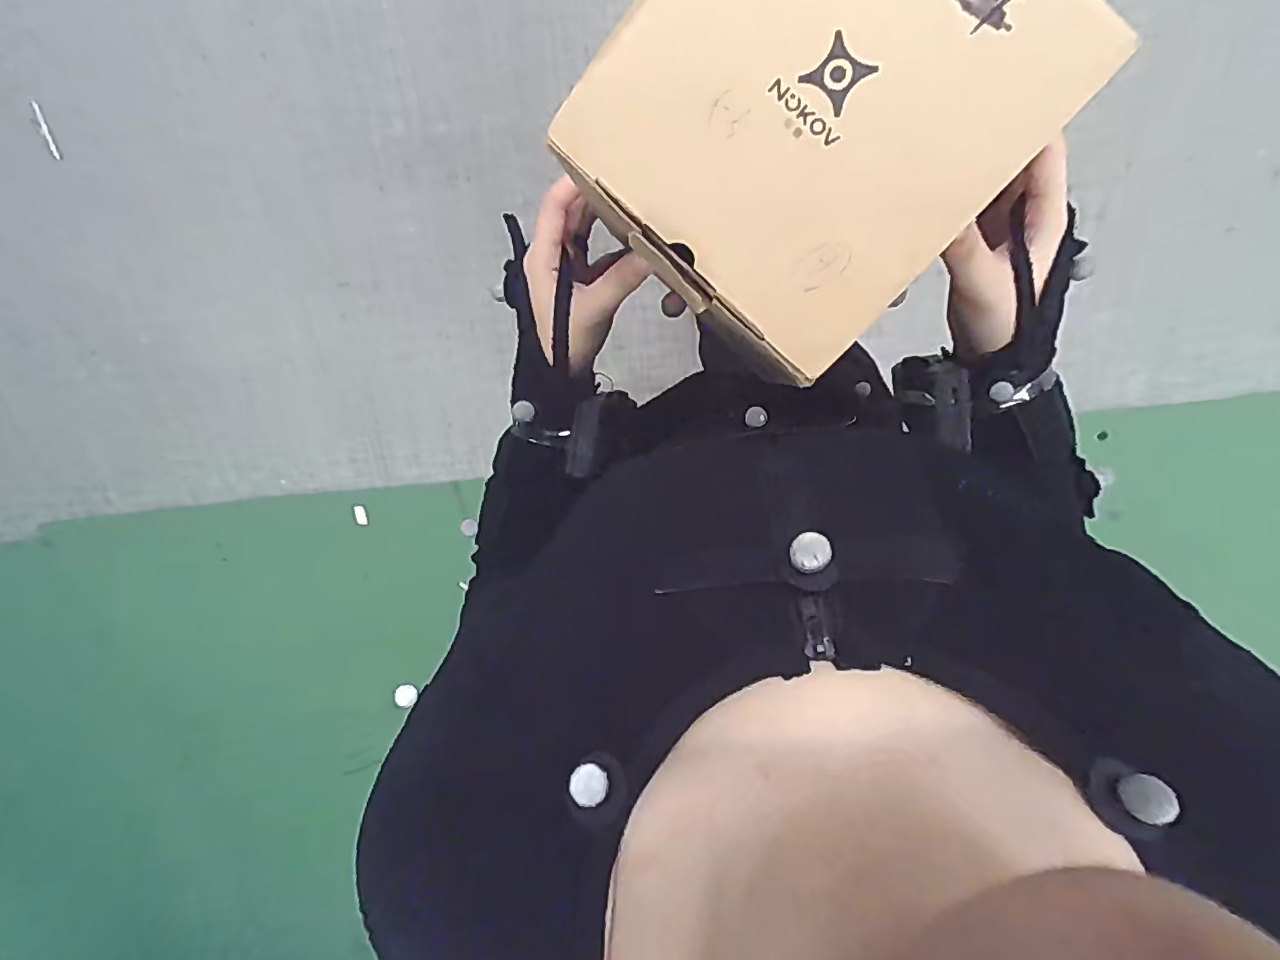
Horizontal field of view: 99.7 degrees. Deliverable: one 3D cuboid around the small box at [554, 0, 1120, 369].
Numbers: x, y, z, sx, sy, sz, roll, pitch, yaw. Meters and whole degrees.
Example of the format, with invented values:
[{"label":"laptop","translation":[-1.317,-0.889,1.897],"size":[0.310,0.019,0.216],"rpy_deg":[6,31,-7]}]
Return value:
[{"label":"small box","translation":[0.086,-0.180,0.307],"size":[0.168,0.176,0.179],"rpy_deg":[42,104,-2]}]
